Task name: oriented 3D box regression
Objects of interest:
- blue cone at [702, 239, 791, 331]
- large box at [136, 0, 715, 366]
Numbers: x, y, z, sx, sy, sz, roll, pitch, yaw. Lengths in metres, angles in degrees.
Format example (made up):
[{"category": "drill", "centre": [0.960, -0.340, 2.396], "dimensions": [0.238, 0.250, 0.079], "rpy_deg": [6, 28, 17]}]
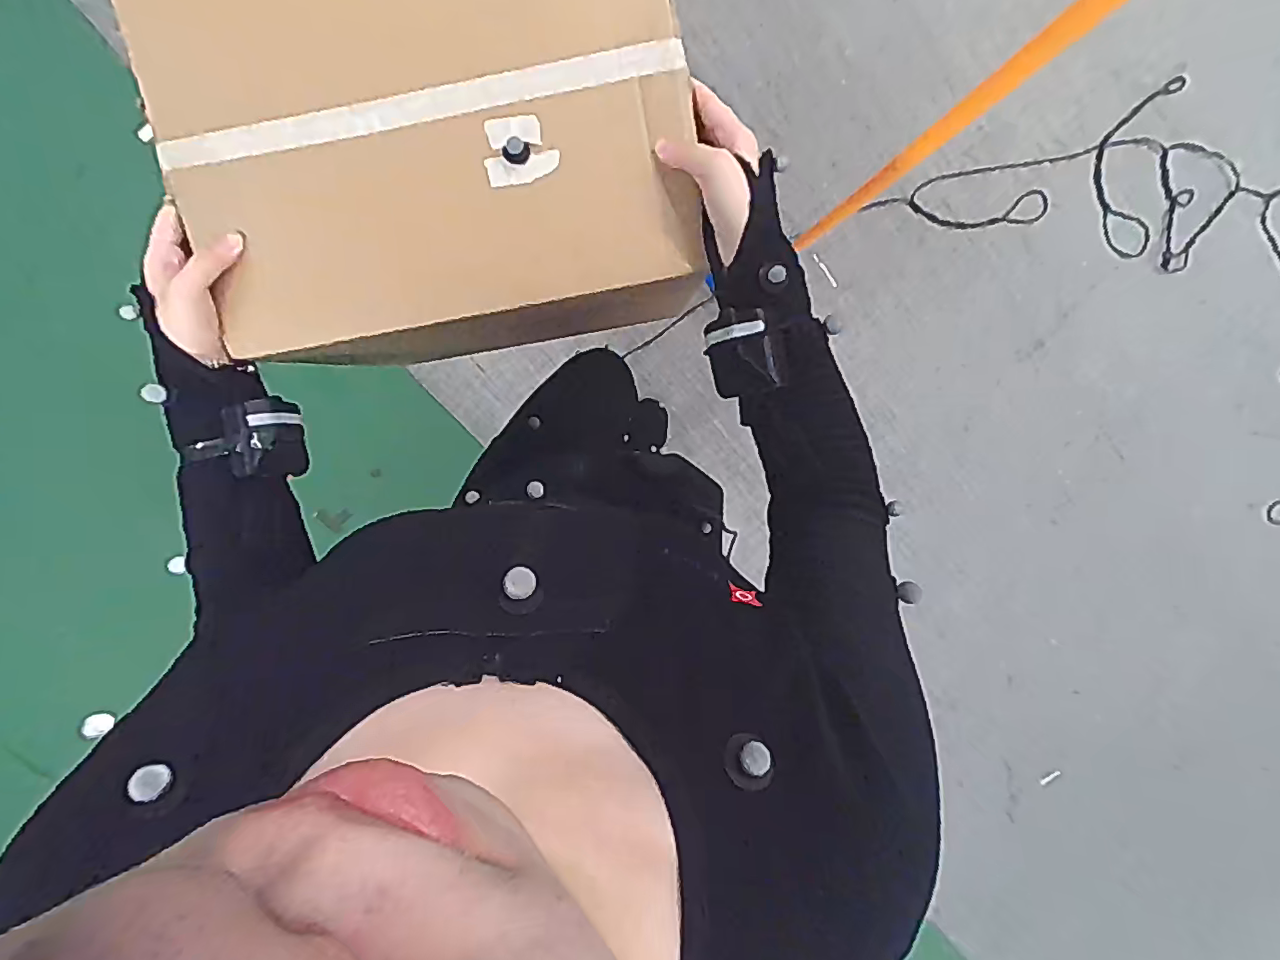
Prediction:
[{"category": "blue cone", "centre": [0.284, -0.480, 1.253], "dimensions": [0.192, 0.380, 0.193], "rpy_deg": [-31, 99, 5]}, {"category": "large box", "centre": [-0.167, -0.317, 0.568], "dimensions": [0.408, 0.320, 0.320], "rpy_deg": [-11, 101, 0]}]
